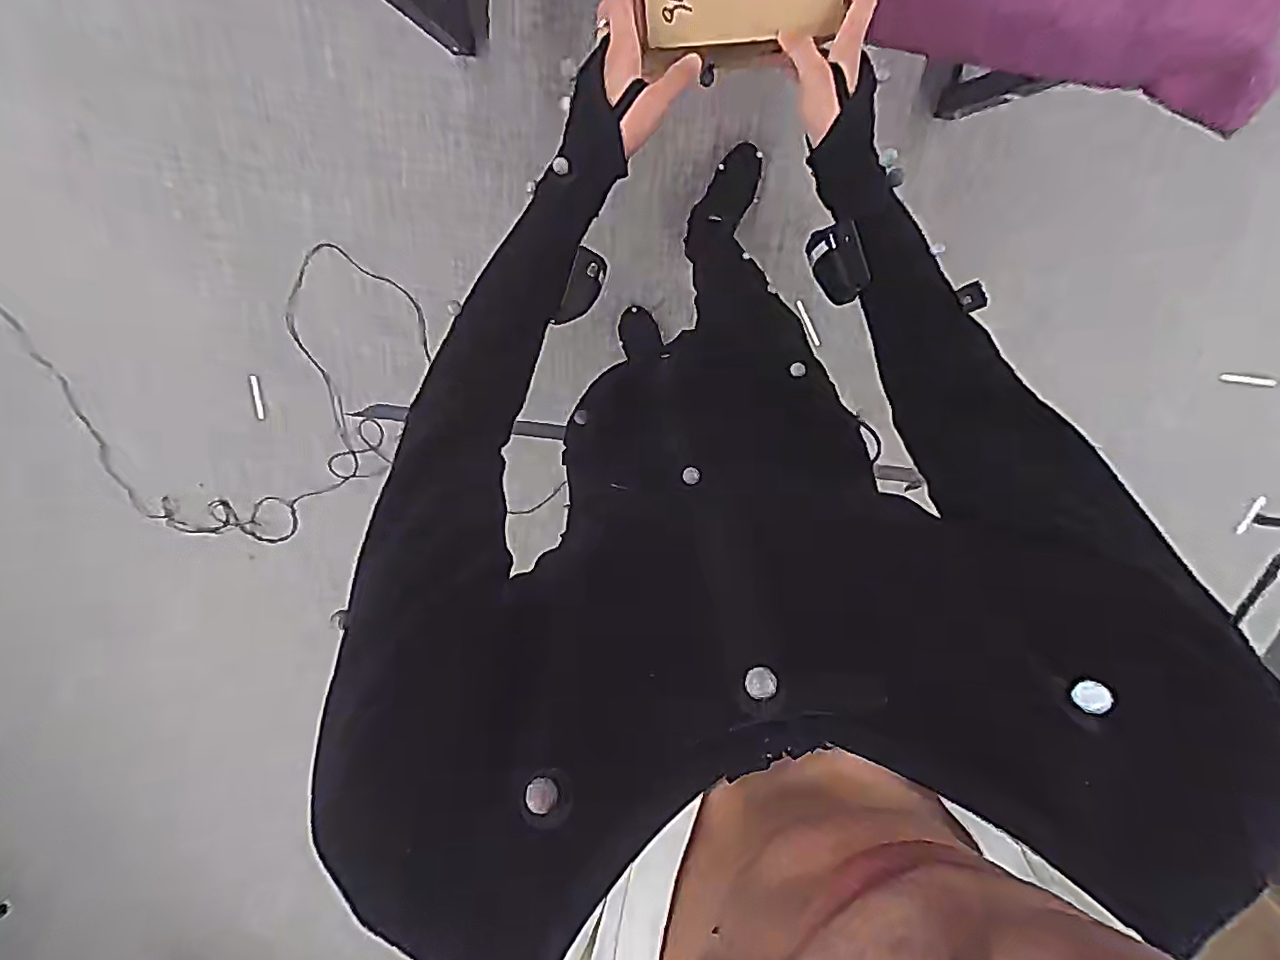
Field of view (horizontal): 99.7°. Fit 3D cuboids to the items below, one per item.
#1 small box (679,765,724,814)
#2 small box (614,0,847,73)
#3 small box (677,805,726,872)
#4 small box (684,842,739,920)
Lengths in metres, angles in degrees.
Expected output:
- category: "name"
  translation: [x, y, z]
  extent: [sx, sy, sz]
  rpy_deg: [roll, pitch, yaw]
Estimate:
- category: "small box"
  translation: [0.257, 1.345, 2.290]
  extent: [0.168, 0.176, 0.179]
  rpy_deg: [2, 116, 0]
- category: "small box"
  translation: [0.072, -0.481, 0.484]
  extent: [0.179, 0.176, 0.168]
  rpy_deg: [-9, 120, -7]
- category: "small box"
  translation: [0.241, 1.420, 2.145]
  extent: [0.179, 0.176, 0.168]
  rpy_deg: [1, 116, 0]
- category: "small box"
  translation: [0.256, 1.472, 1.988]
  extent: [0.168, 0.176, 0.179]
  rpy_deg: [4, 116, -3]
